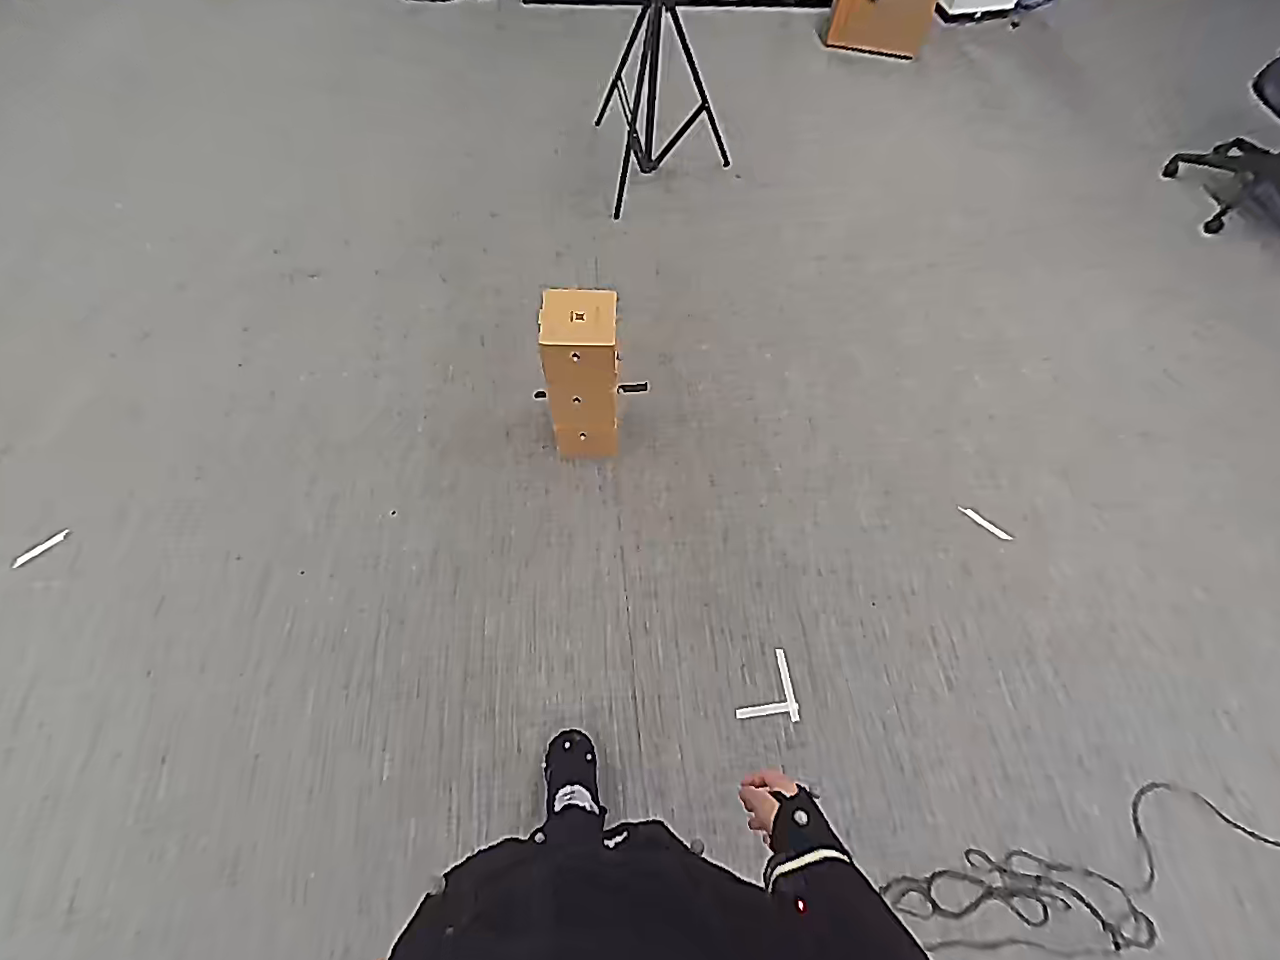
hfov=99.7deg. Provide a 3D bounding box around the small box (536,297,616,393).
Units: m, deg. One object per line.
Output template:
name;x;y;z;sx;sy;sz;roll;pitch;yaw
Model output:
small box;-0.149;-0.323;1.316;0.179;0.176;0.168;1;65;-3

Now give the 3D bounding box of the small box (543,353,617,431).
small box;-0.154;-0.244;1.458;0.179;0.176;0.168;3;64;-1

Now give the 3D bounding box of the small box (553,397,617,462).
small box;-0.160;-0.164;1.601;0.179;0.176;0.168;1;64;-2
